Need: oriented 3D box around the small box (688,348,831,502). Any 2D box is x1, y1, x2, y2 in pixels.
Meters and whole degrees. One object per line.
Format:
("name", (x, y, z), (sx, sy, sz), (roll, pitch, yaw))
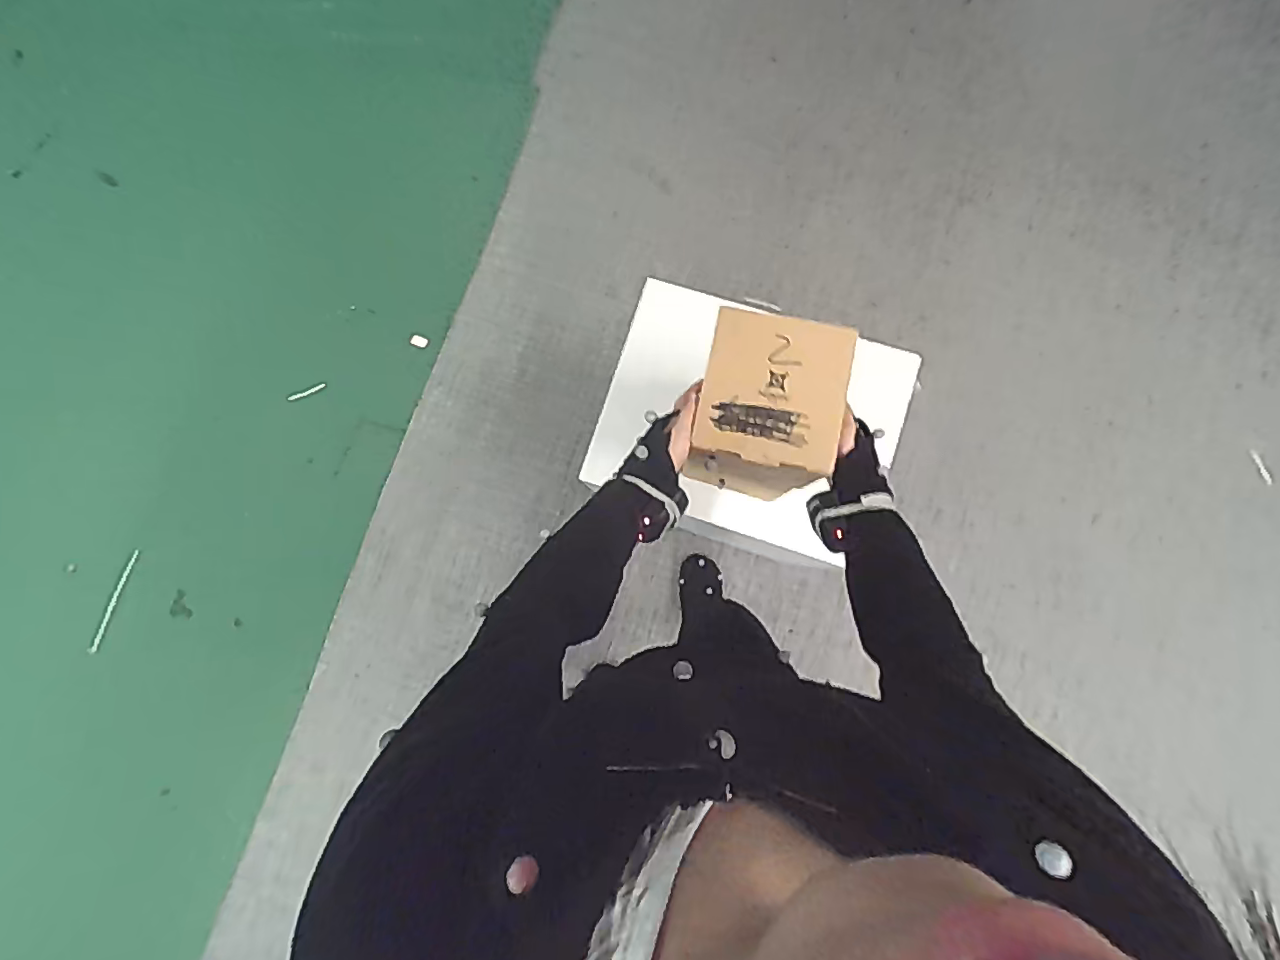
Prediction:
("small box", (0.176, -0.076, 0.848), (0.168, 0.176, 0.179), (17, 83, 6))
